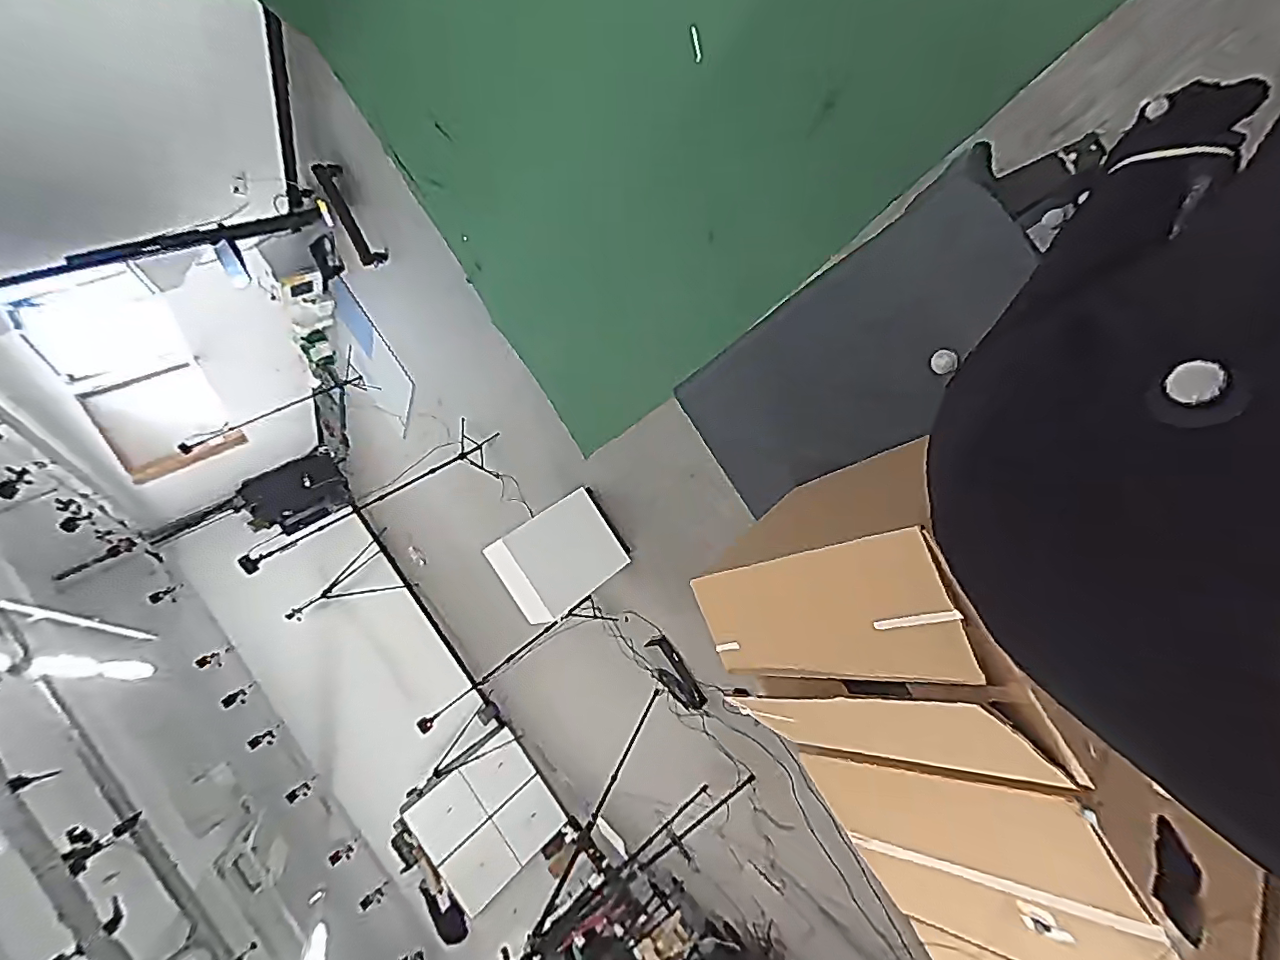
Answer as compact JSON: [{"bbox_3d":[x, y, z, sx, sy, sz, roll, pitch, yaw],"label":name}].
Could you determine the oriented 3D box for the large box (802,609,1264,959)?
[{"bbox_3d":[0.530,0.418,0.777,0.320,0.320,0.408,56,146,0],"label":"large box"}]
